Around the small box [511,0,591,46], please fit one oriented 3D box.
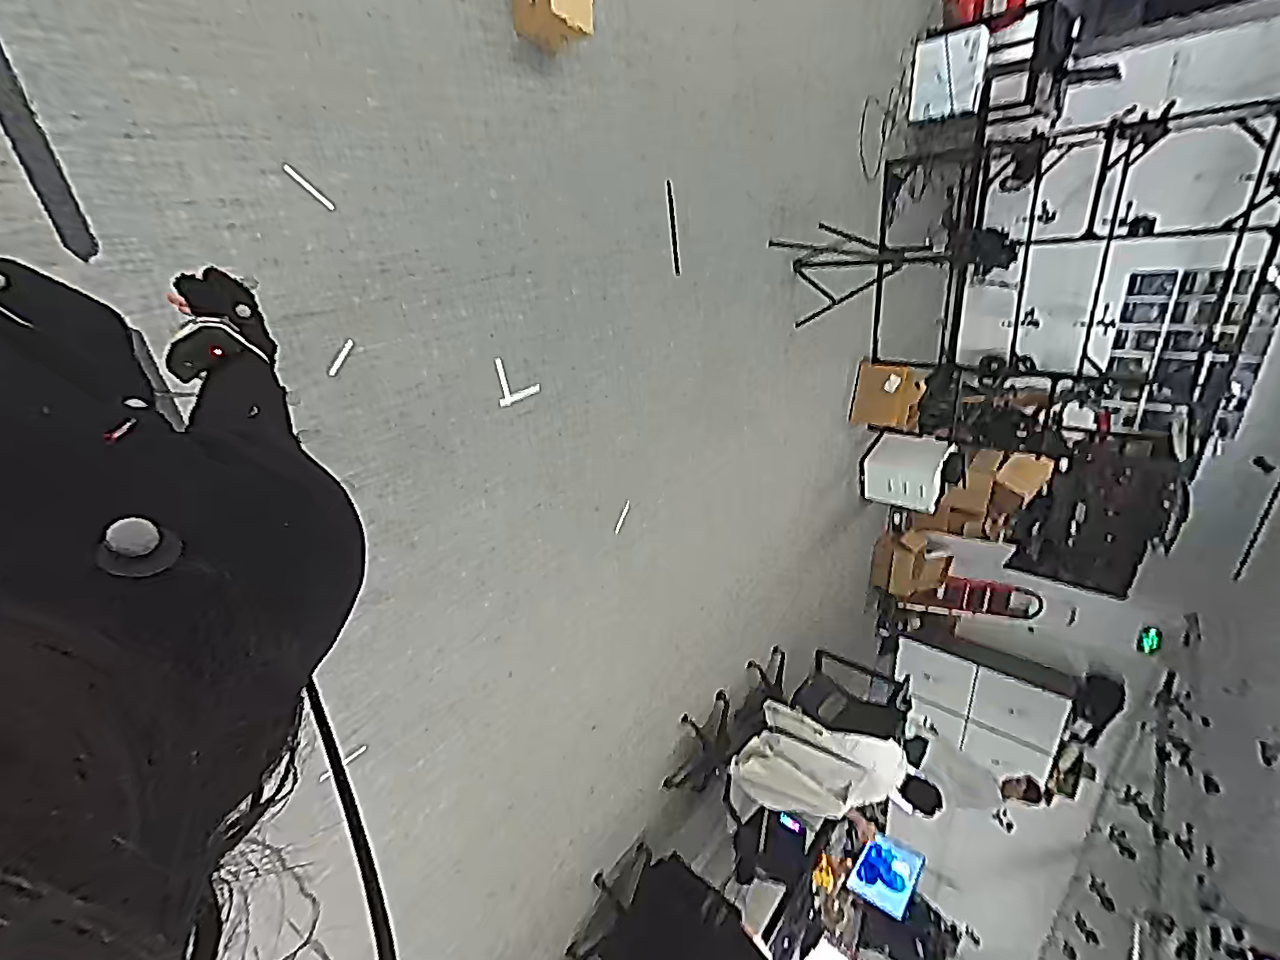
[{"bbox_3d":[-0.260,-1.405,1.564,0.168,0.176,0.179,-17,114,-48],"label":"small box"}]
